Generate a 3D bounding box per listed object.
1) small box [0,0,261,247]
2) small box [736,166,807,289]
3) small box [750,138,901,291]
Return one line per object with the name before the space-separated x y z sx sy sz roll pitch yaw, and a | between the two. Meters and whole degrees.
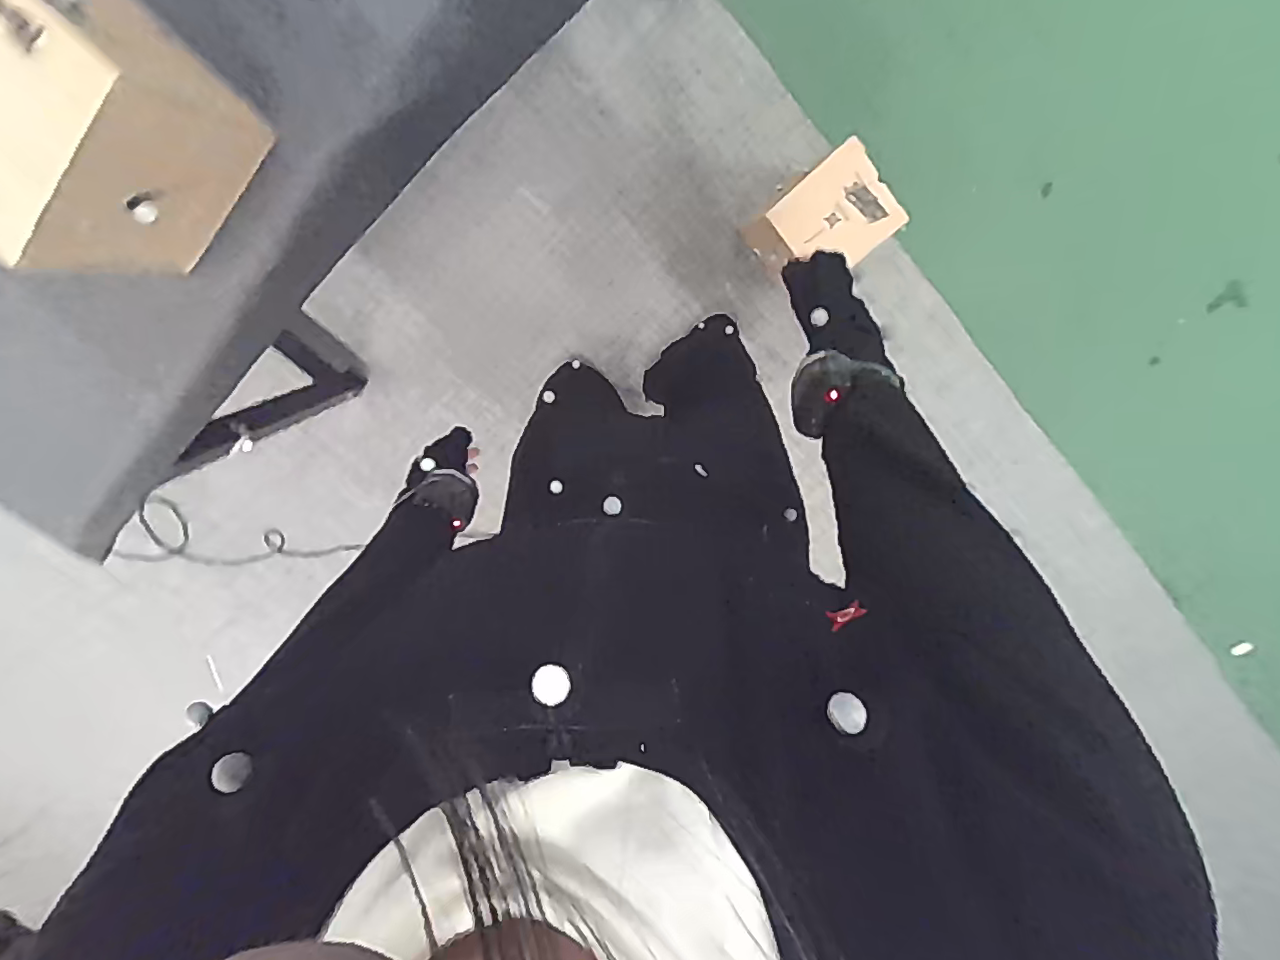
small box | -0.464 -0.312 0.438 0.179 0.176 0.168 -42 104 16
small box | 0.320 -0.525 1.126 0.179 0.176 0.168 -38 105 16
small box | 0.320 -0.466 0.972 0.179 0.176 0.168 -37 105 15
